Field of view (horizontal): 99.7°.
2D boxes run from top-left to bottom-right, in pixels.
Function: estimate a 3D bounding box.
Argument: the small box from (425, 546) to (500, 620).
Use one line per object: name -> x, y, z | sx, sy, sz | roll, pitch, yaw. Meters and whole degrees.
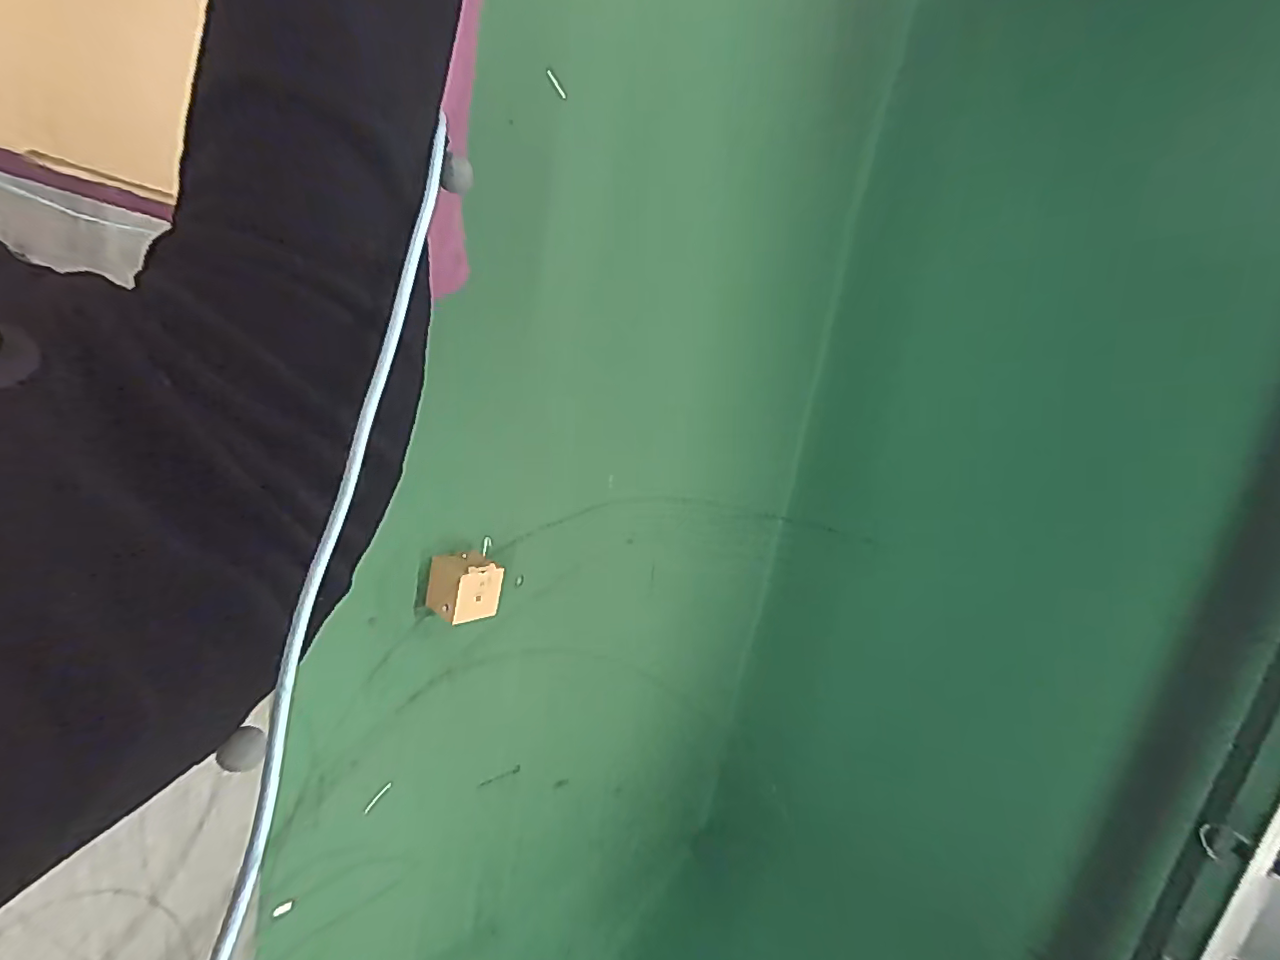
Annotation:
small box -> -0.593, 0.337, 1.795 | 0.168, 0.176, 0.179 | -2, 107, -52
